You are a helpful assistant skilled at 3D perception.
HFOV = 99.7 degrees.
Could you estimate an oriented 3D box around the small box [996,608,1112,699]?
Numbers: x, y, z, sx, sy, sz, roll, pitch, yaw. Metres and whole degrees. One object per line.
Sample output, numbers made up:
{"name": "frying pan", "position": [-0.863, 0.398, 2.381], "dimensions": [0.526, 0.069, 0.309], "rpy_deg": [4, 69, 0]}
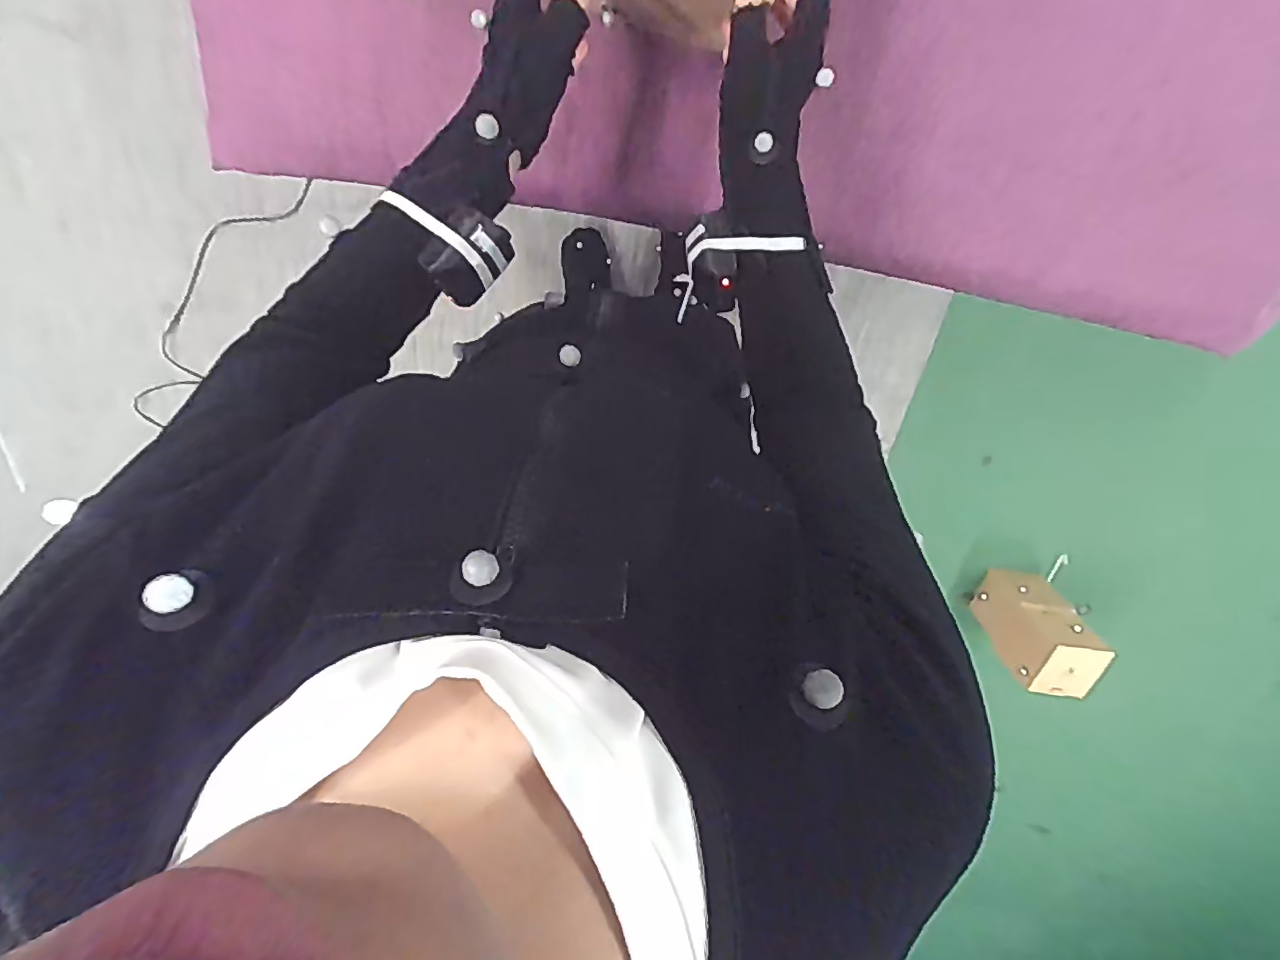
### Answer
{"name": "small box", "position": [1.163, 0.487, 1.536], "dimensions": [0.168, 0.176, 0.179], "rpy_deg": [8, 118, -3]}

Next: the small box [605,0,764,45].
{"name": "small box", "position": [0.043, -0.485, 0.425], "dimensions": [0.168, 0.176, 0.179], "rpy_deg": [13, 116, -6]}
